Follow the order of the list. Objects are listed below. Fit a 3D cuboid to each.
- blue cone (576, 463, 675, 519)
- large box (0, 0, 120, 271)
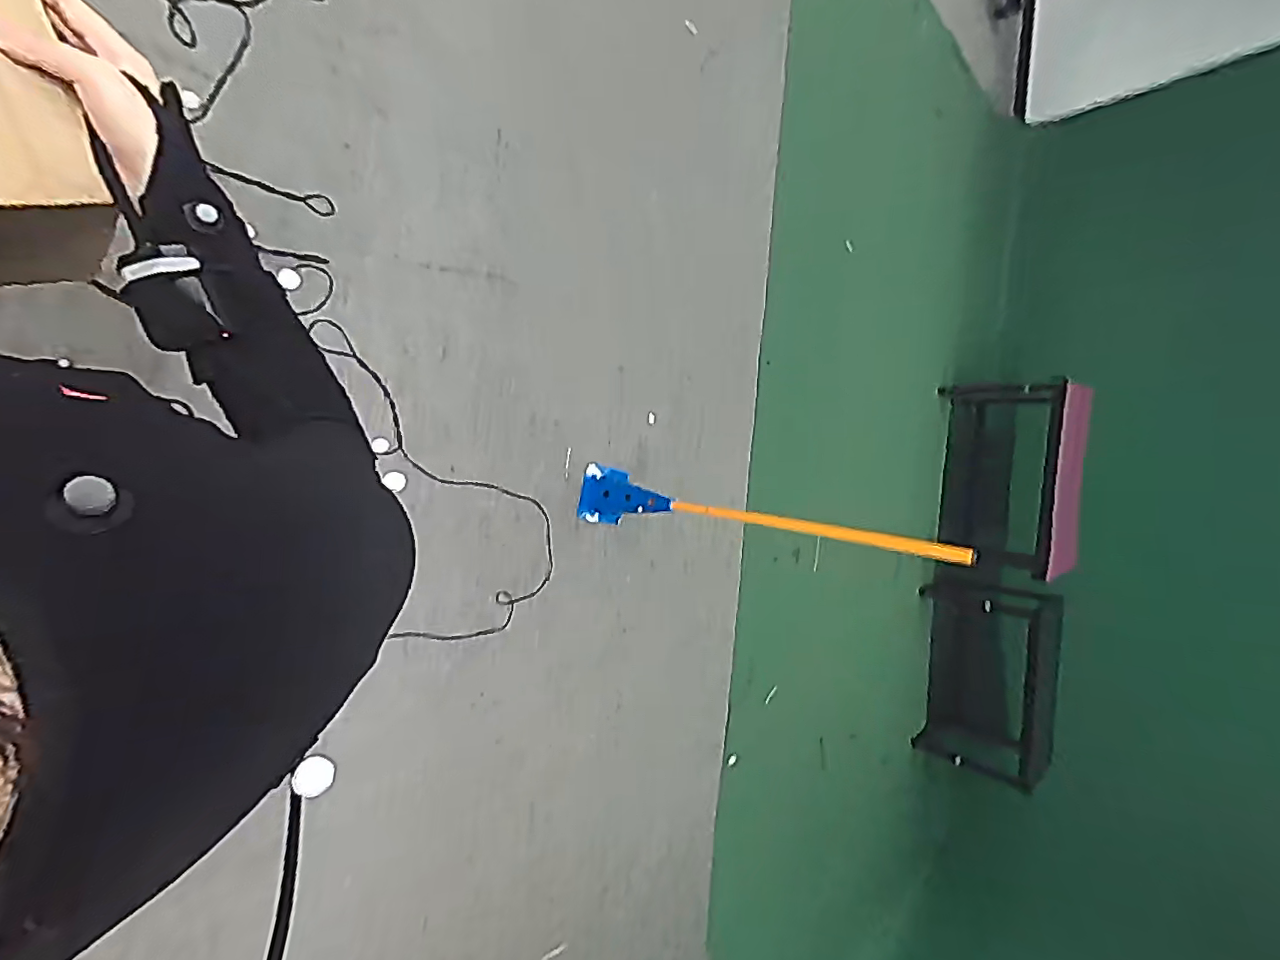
[{"bbox_3d":[-0.034,0.053,1.821,0.192,0.380,0.193,16,84,-42],"label":"blue cone"},{"bbox_3d":[-0.631,-0.286,0.296,0.408,0.320,0.320,-29,117,-44],"label":"large box"}]
